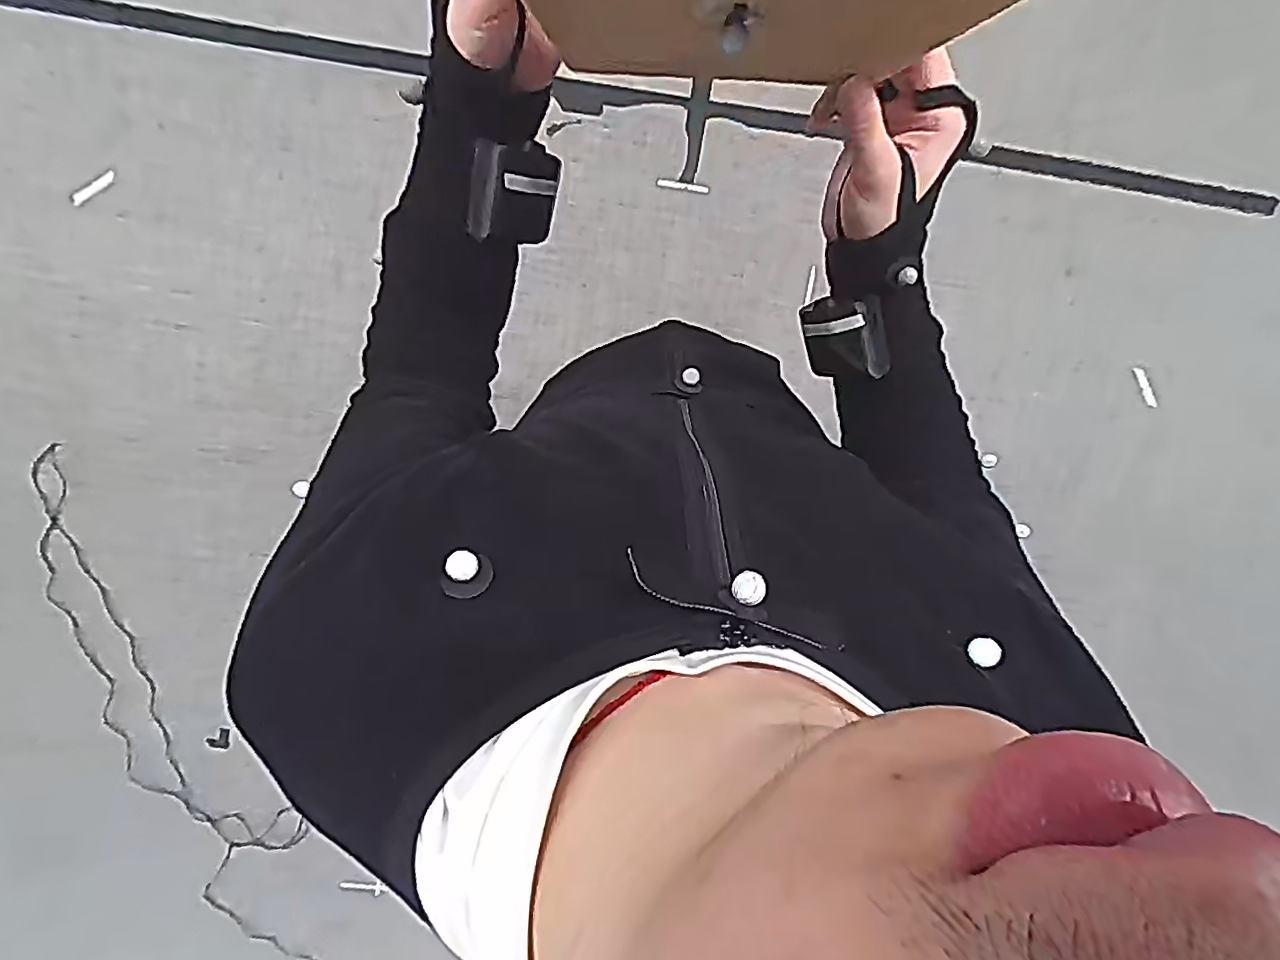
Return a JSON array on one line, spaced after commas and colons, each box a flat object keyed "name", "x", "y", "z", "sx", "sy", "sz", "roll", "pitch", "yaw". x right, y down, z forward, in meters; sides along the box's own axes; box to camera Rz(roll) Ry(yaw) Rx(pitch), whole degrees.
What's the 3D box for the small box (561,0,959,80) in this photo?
[{"name": "small box", "x": 0.051, "y": -0.274, "z": 0.211, "sx": 0.179, "sy": 0.176, "sz": 0.168, "roll": 2, "pitch": 117, "yaw": 0}]
